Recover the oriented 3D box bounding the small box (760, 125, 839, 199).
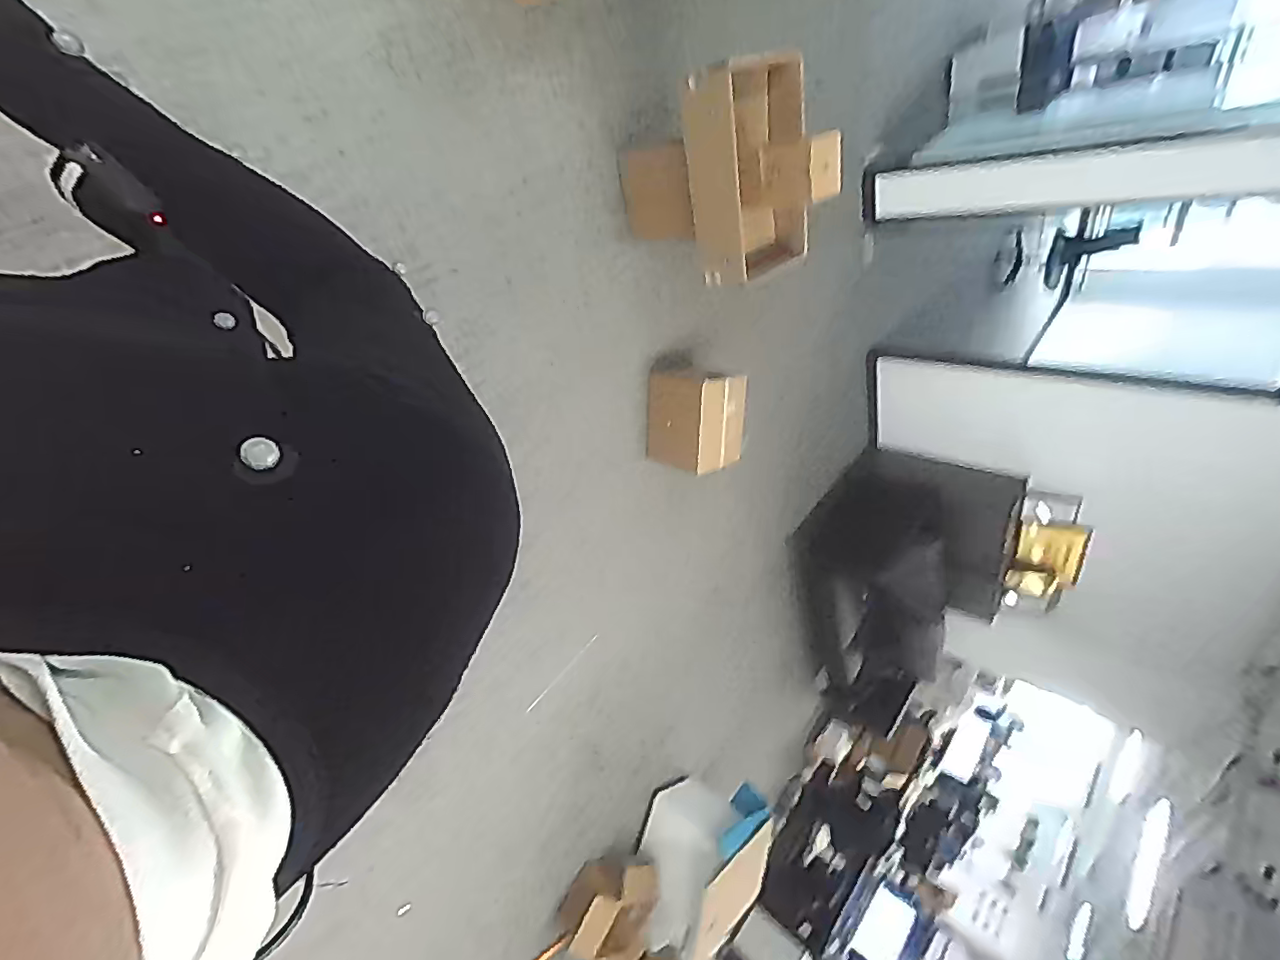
[{"bbox_3d":[0.488,-0.969,1.651,0.179,0.176,0.168,-35,128,-32],"label":"small box"}]

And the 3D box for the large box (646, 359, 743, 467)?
[{"bbox_3d":[0.238,-0.312,2.433,0.320,0.320,0.408,-20,119,-42],"label":"large box"}]
